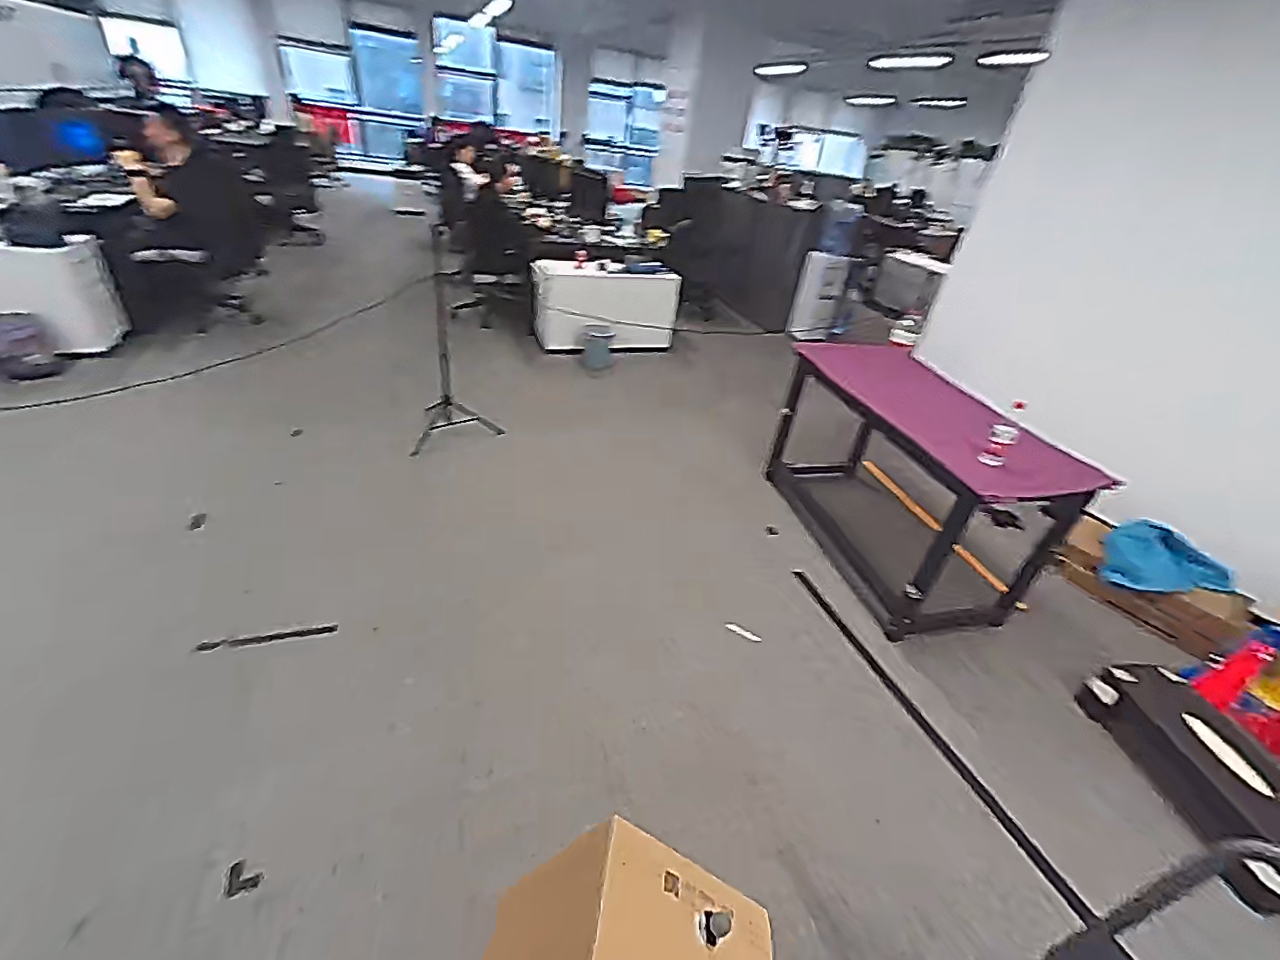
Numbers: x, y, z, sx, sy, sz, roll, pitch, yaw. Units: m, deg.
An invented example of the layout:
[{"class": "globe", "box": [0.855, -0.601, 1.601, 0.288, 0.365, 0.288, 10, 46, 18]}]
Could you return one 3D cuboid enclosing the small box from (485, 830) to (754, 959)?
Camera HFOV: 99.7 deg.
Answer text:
[{"class": "small box", "box": [-0.022, 0.406, 0.396, 0.168, 0.179, 0.176, 38, 24, -11]}]
